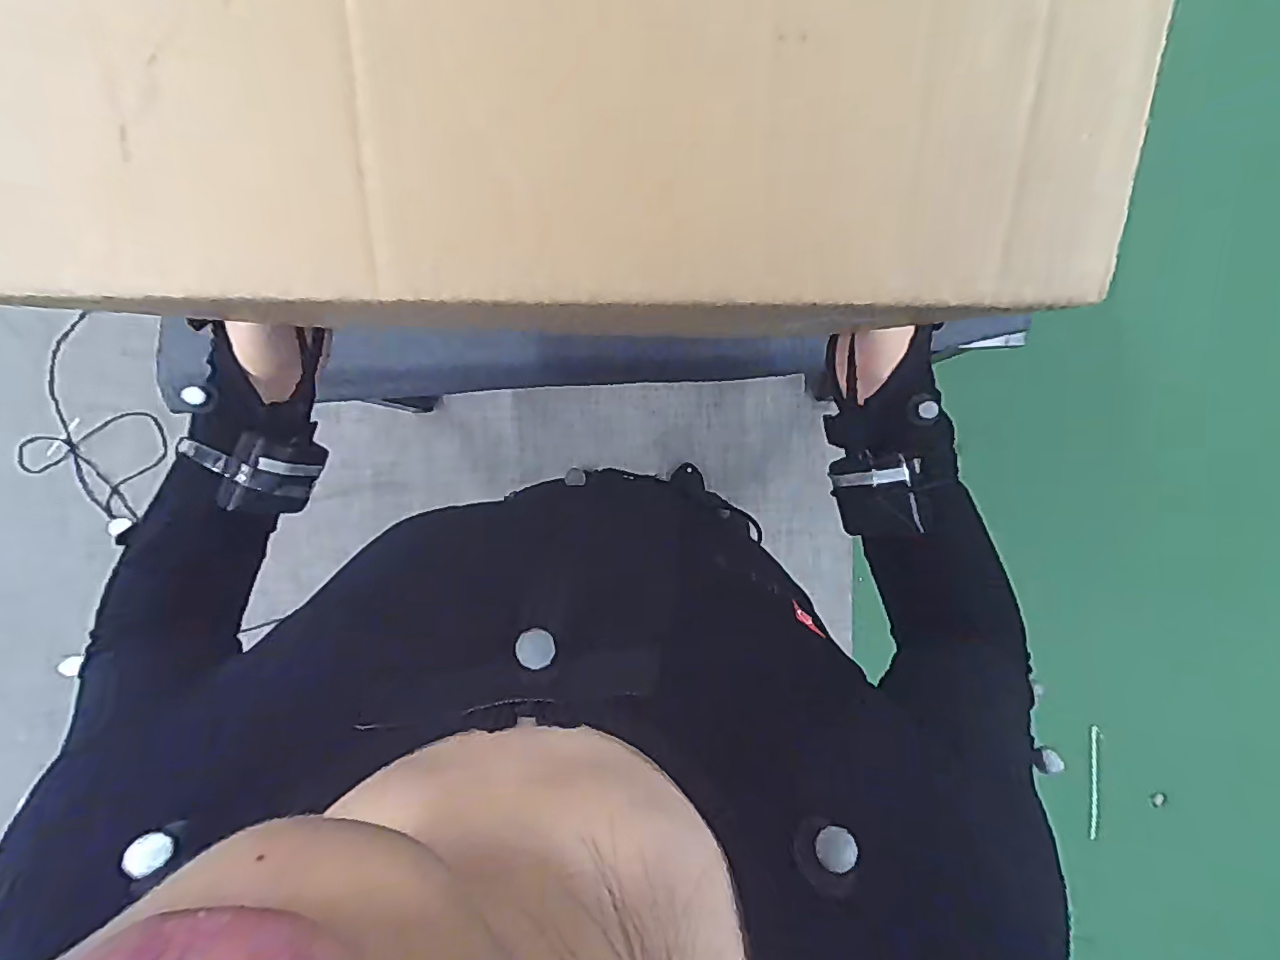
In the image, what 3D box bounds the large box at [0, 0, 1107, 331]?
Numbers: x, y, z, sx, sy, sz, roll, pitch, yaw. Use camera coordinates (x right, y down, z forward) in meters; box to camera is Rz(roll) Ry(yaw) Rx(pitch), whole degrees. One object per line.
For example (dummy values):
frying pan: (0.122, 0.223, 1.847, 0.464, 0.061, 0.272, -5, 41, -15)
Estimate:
large box: (-0.047, -0.255, 0.309, 0.408, 0.320, 0.320, 0, 104, 0)
